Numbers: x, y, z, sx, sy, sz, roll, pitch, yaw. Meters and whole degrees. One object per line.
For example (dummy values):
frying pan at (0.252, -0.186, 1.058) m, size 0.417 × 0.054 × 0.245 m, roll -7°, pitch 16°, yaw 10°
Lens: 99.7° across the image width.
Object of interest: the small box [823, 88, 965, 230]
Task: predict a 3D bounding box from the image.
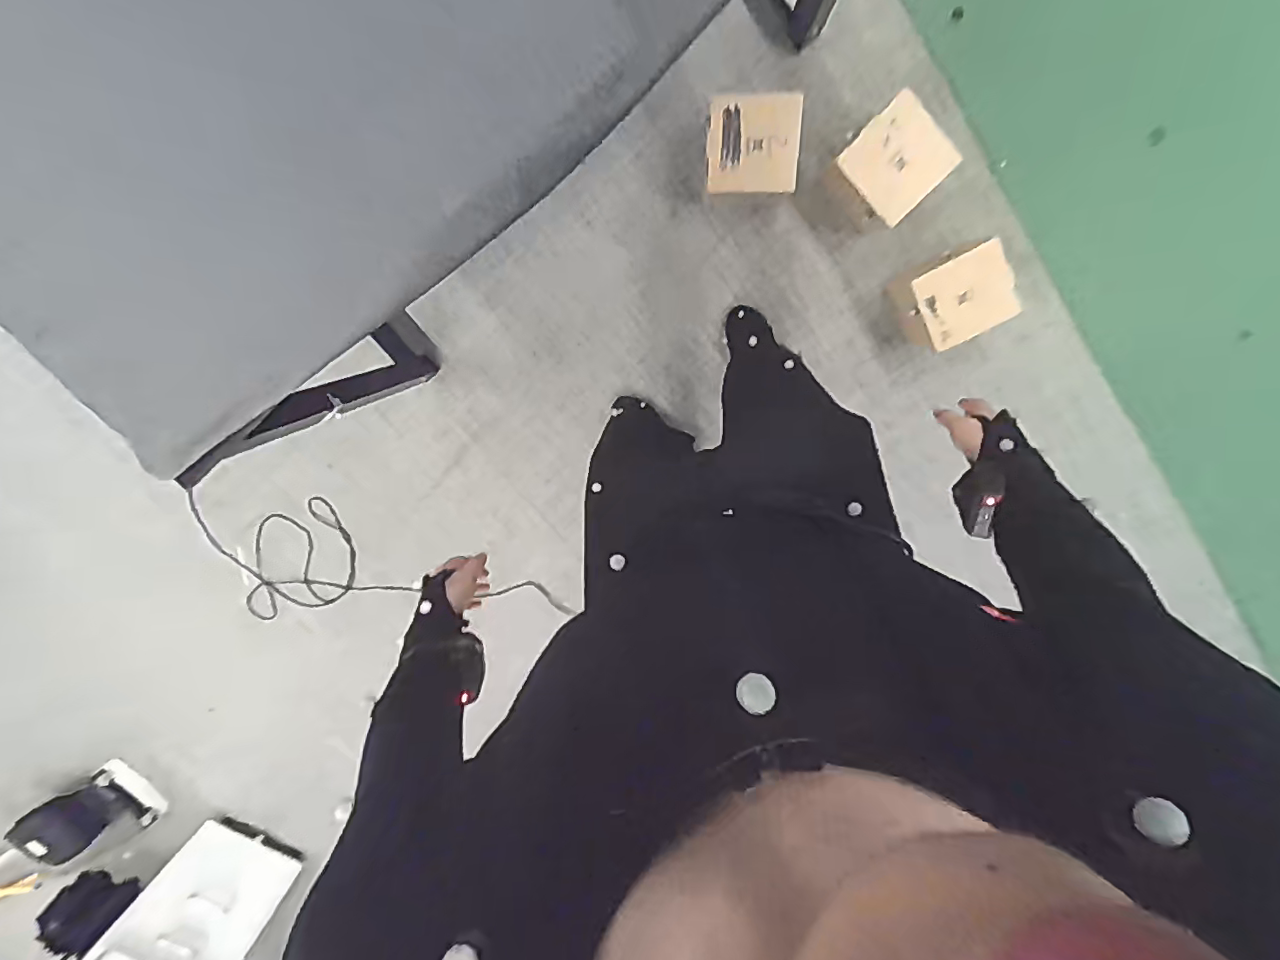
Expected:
small box at (0.501, -0.630, 1.092) m, size 0.179 × 0.176 × 0.168 m, roll 44°, pitch 108°, yaw -10°

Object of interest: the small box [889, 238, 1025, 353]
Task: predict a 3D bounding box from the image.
small box at (0.671, -0.397, 1.160) m, size 0.179 × 0.176 × 0.168 m, roll -26°, pitch 106°, yaw 14°
